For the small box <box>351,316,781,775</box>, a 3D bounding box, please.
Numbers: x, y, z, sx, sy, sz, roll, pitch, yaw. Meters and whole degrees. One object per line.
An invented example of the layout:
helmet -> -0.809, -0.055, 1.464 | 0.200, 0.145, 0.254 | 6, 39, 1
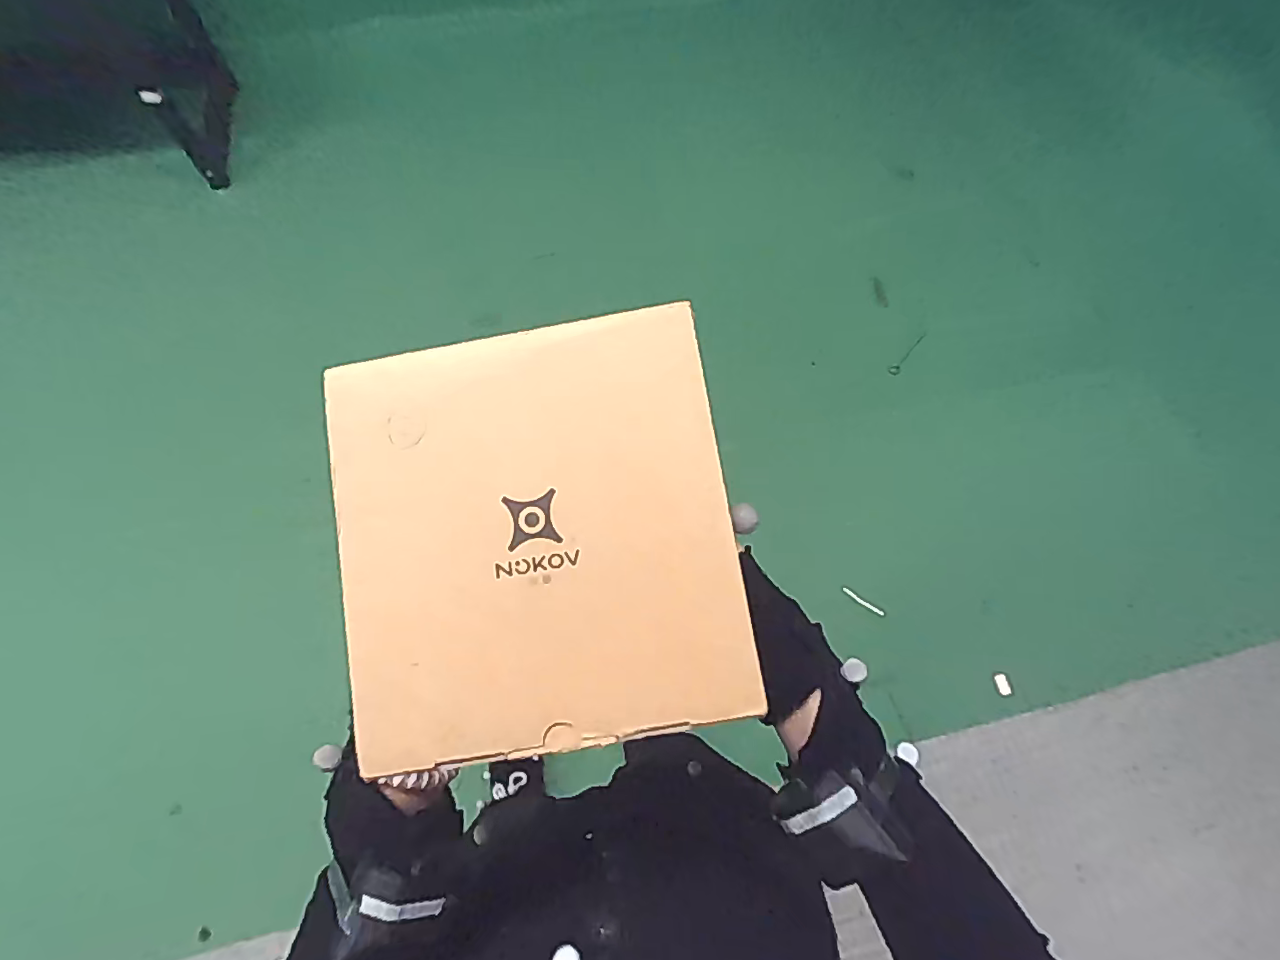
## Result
small box -> -0.034, 0.034, 0.309 | 0.168, 0.176, 0.179 | -10, 82, 1
